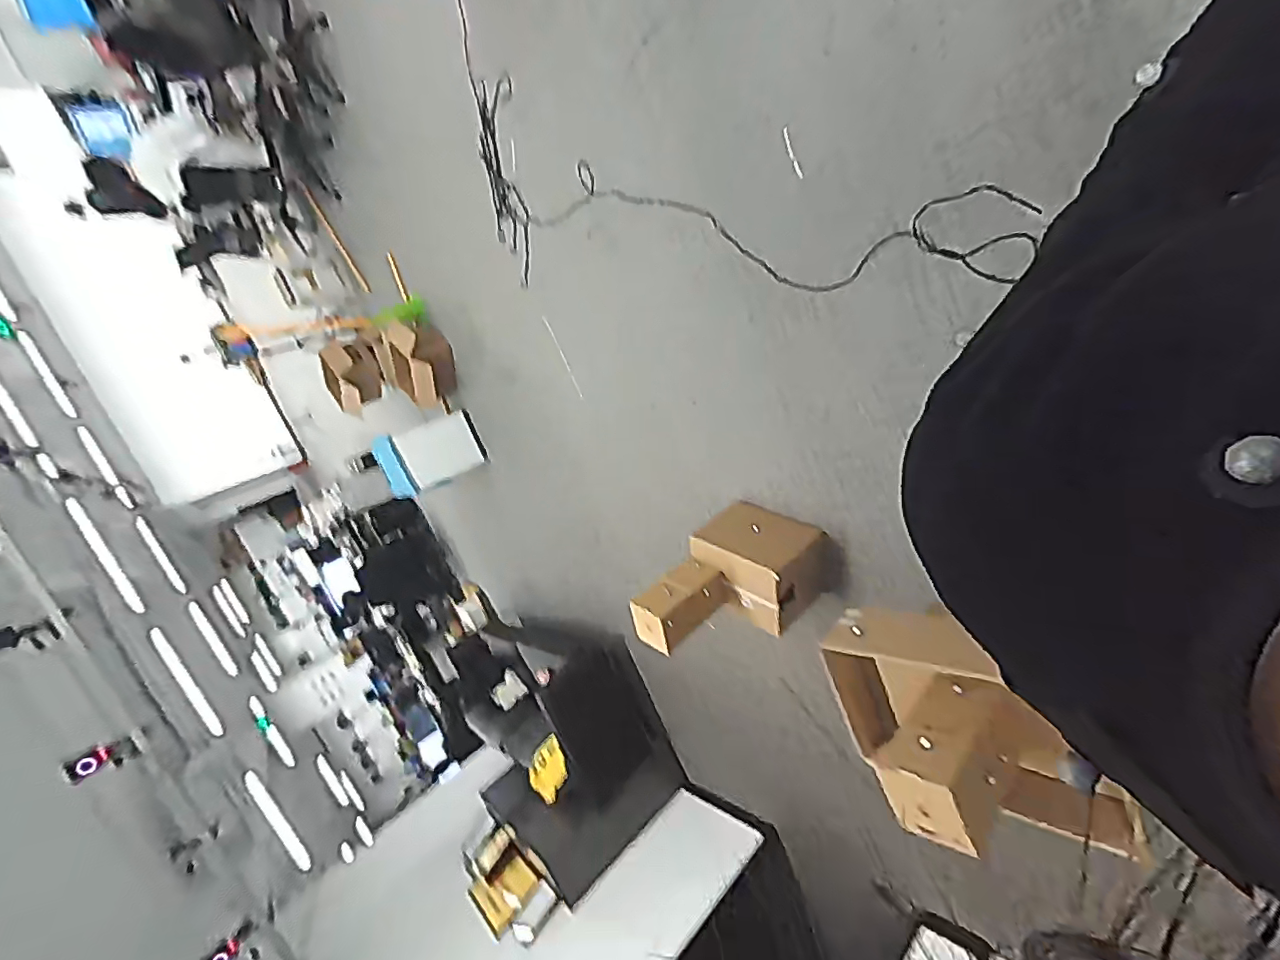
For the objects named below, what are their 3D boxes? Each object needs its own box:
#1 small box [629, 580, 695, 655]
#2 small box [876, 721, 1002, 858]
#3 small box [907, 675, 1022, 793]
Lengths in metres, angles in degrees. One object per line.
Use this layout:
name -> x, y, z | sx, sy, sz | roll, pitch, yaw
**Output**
small box -> 0.087, 0.502, 1.996 | 0.168, 0.176, 0.179 | 17, 127, 46
small box -> 0.657, 0.663, 1.186 | 0.168, 0.176, 0.179 | -15, 102, 55
small box -> 0.773, 0.598, 1.281 | 0.168, 0.176, 0.179 | -11, 106, 54
